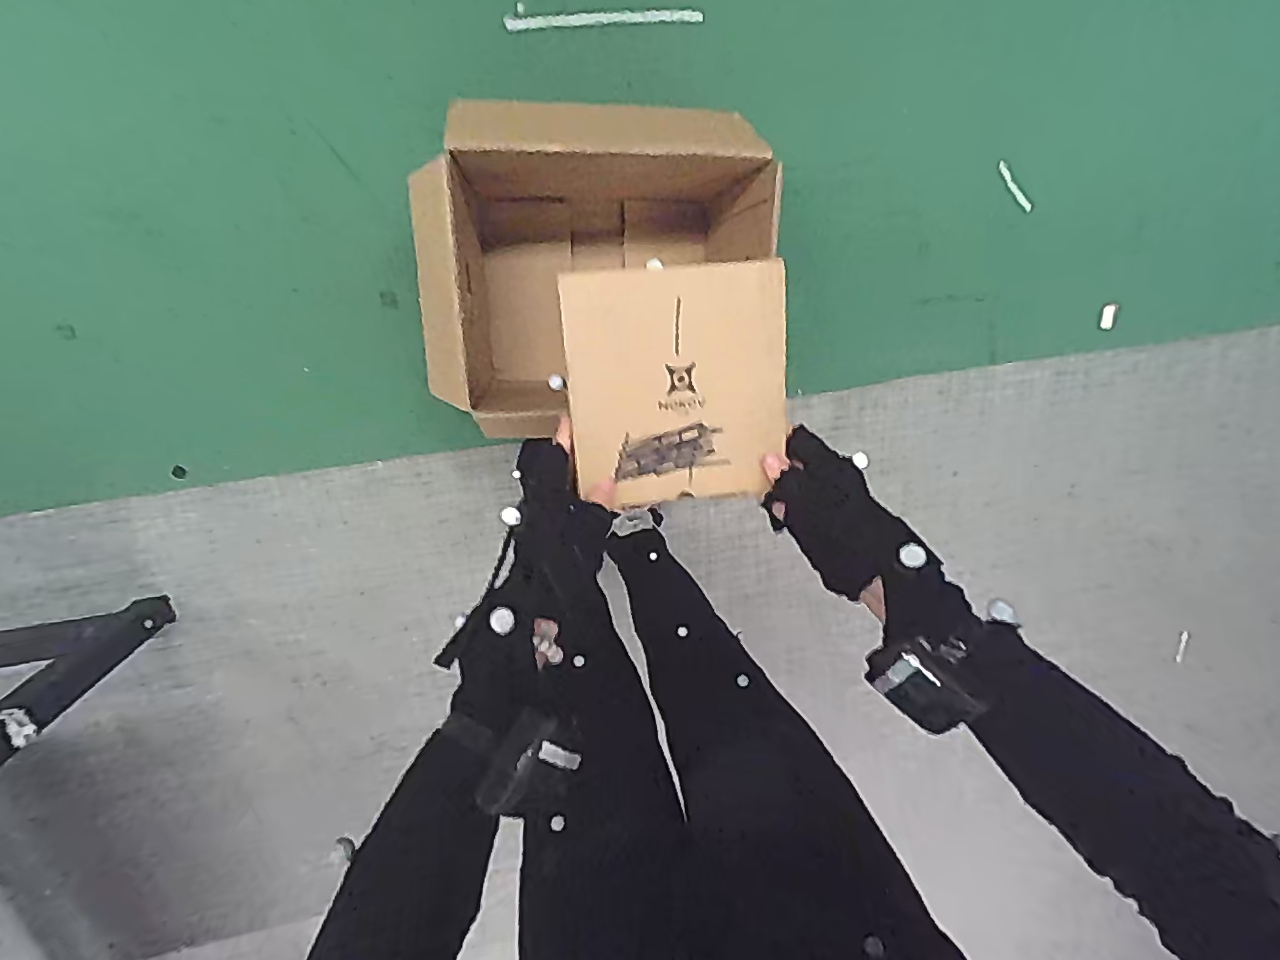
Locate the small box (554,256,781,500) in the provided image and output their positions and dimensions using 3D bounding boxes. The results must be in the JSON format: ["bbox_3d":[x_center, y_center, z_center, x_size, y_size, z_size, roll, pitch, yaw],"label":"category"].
[{"bbox_3d":[0.015,-0.094,0.482,0.168,0.176,0.179,-6,105,-7],"label":"small box"}]
